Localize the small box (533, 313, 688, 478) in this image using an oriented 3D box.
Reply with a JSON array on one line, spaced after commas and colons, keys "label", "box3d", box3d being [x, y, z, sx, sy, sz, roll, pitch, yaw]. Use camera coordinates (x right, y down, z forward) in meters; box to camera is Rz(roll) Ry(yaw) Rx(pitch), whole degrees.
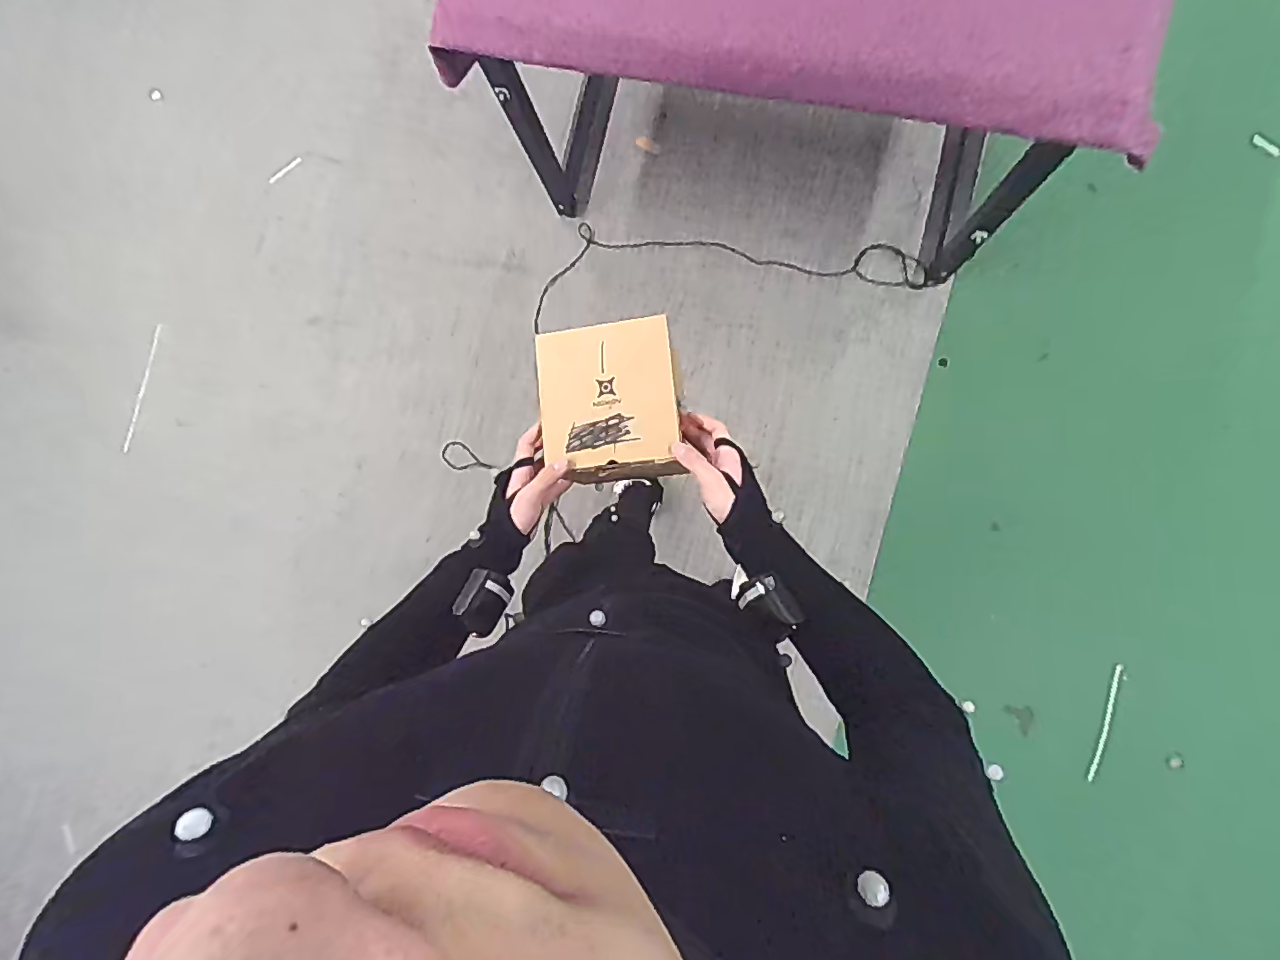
[{"label": "small box", "box3d": [-0.030, -0.097, 0.718, 0.168, 0.176, 0.179, -7, 84, 9]}]
